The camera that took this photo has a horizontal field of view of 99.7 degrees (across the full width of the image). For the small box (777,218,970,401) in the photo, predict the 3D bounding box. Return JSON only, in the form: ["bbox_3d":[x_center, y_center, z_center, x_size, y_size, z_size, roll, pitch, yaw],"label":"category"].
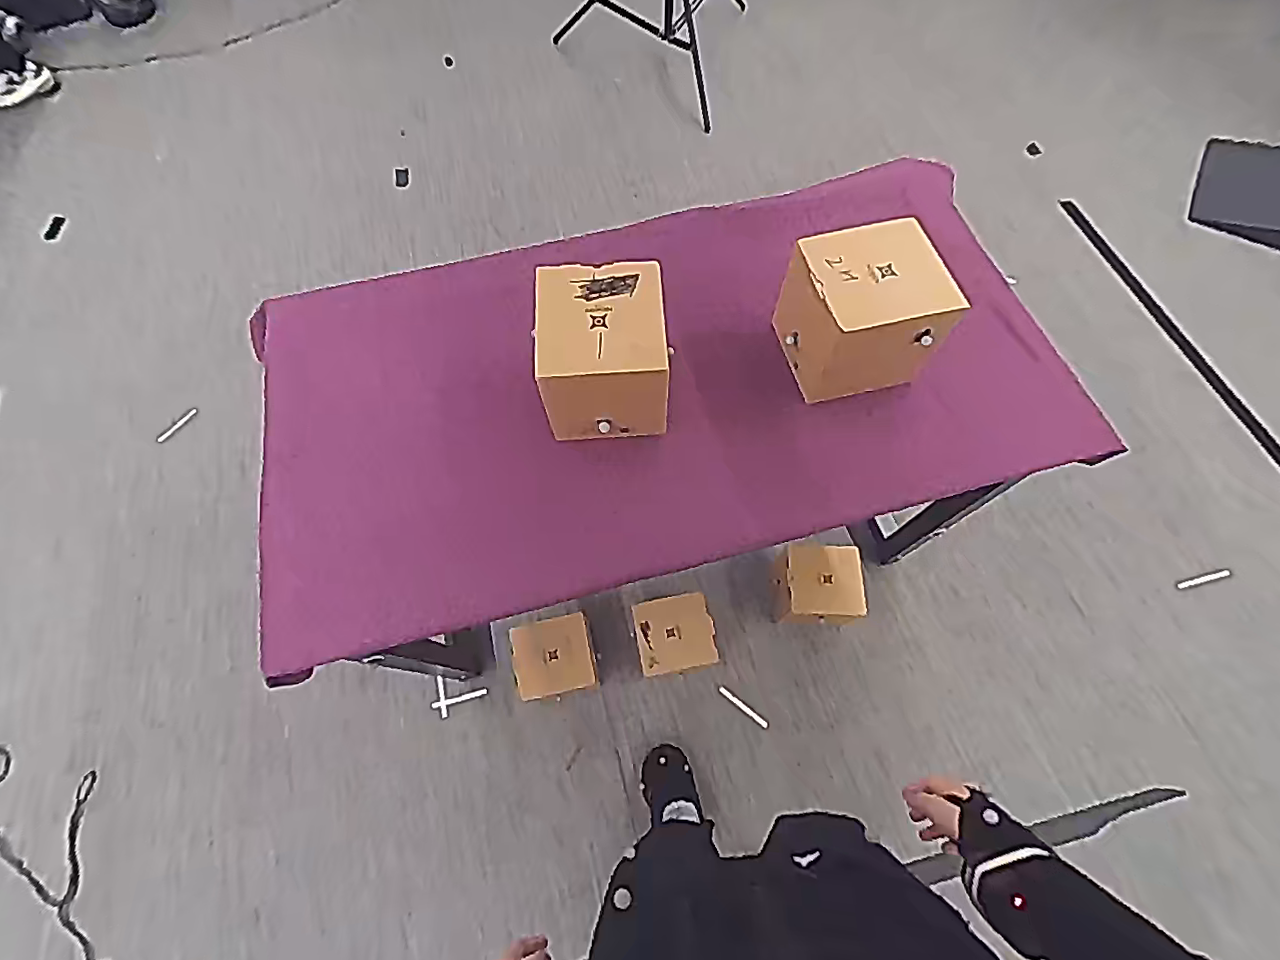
[{"bbox_3d":[0.317,-0.236,0.776,0.179,0.176,0.168,-13,66,-3],"label":"small box"}]

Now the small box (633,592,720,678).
[{"bbox_3d":[0.082,0.379,1.312,0.179,0.176,0.168,-10,67,-3],"label":"small box"}]

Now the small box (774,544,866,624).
[{"bbox_3d":[0.442,0.265,1.353,0.179,0.176,0.168,1,67,3],"label":"small box"}]

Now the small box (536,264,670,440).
[{"bbox_3d":[-0.047,-0.174,0.758,0.168,0.176,0.179,-3,67,0],"label":"small box"}]
